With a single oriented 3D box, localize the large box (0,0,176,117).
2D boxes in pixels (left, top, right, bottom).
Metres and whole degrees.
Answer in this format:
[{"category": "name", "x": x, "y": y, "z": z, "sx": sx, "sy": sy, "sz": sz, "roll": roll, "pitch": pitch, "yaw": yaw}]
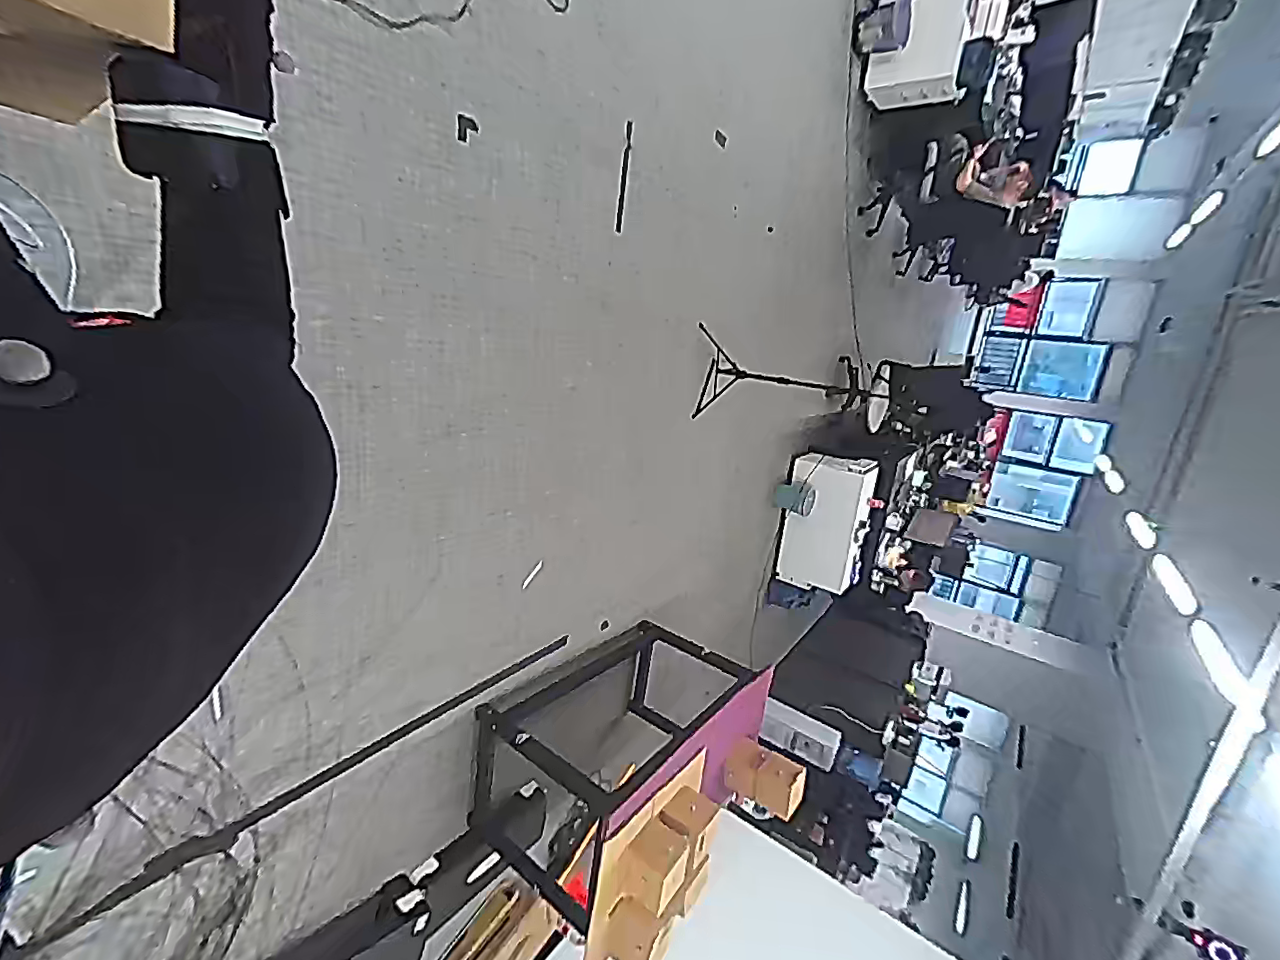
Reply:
[{"category": "large box", "x": -0.501, "y": -0.418, "z": 0.221, "sx": 0.408, "sy": 0.320, "sz": 0.320, "roll": -9, "pitch": 112, "yaw": -53}]
